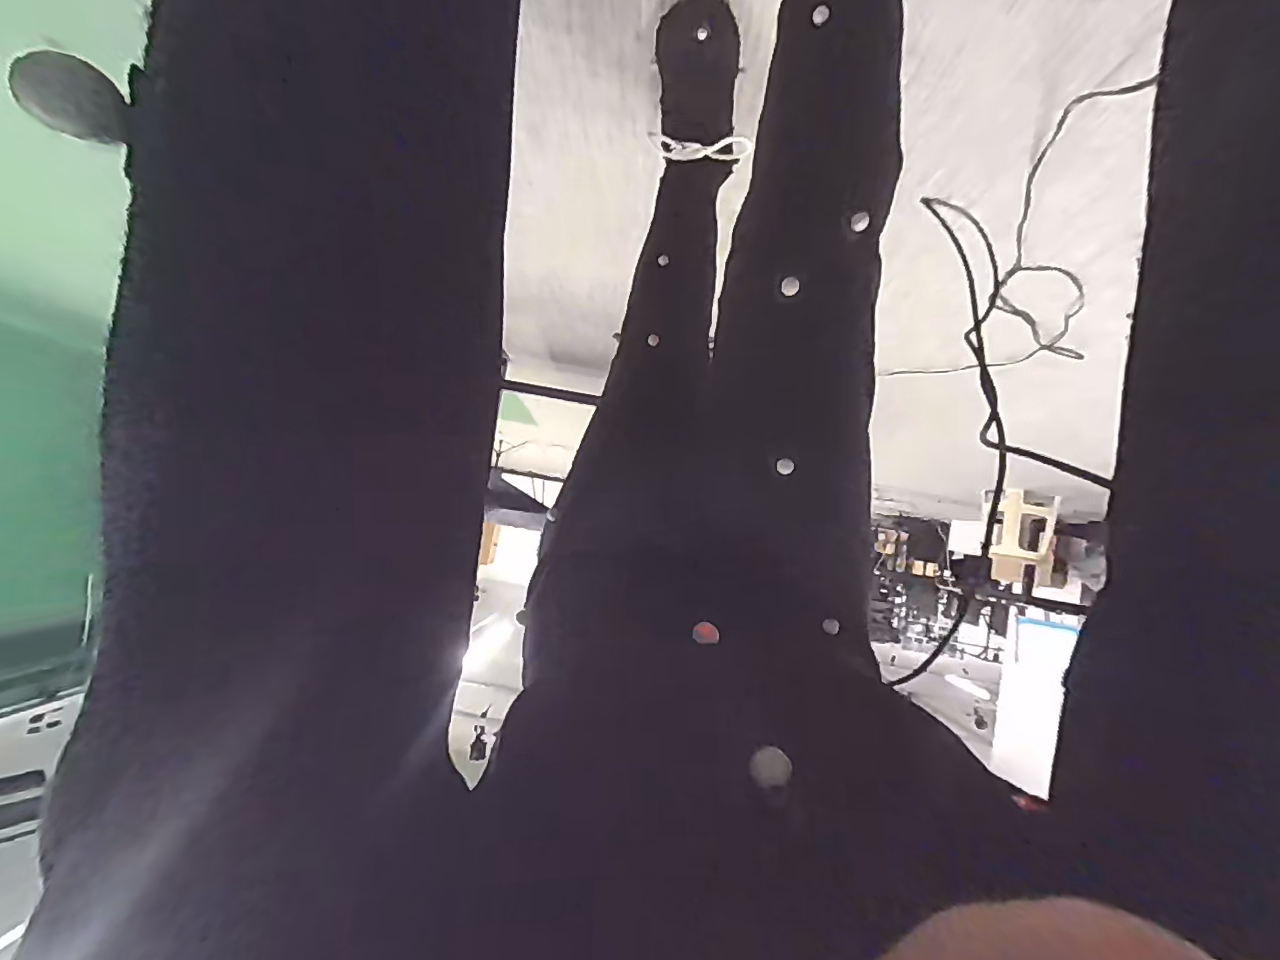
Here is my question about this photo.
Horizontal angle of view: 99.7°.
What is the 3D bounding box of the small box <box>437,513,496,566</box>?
[{"bbox_3d":[-0.658,0.226,2.077,0.179,0.176,0.168,11,174,-5],"label":"small box"}]
